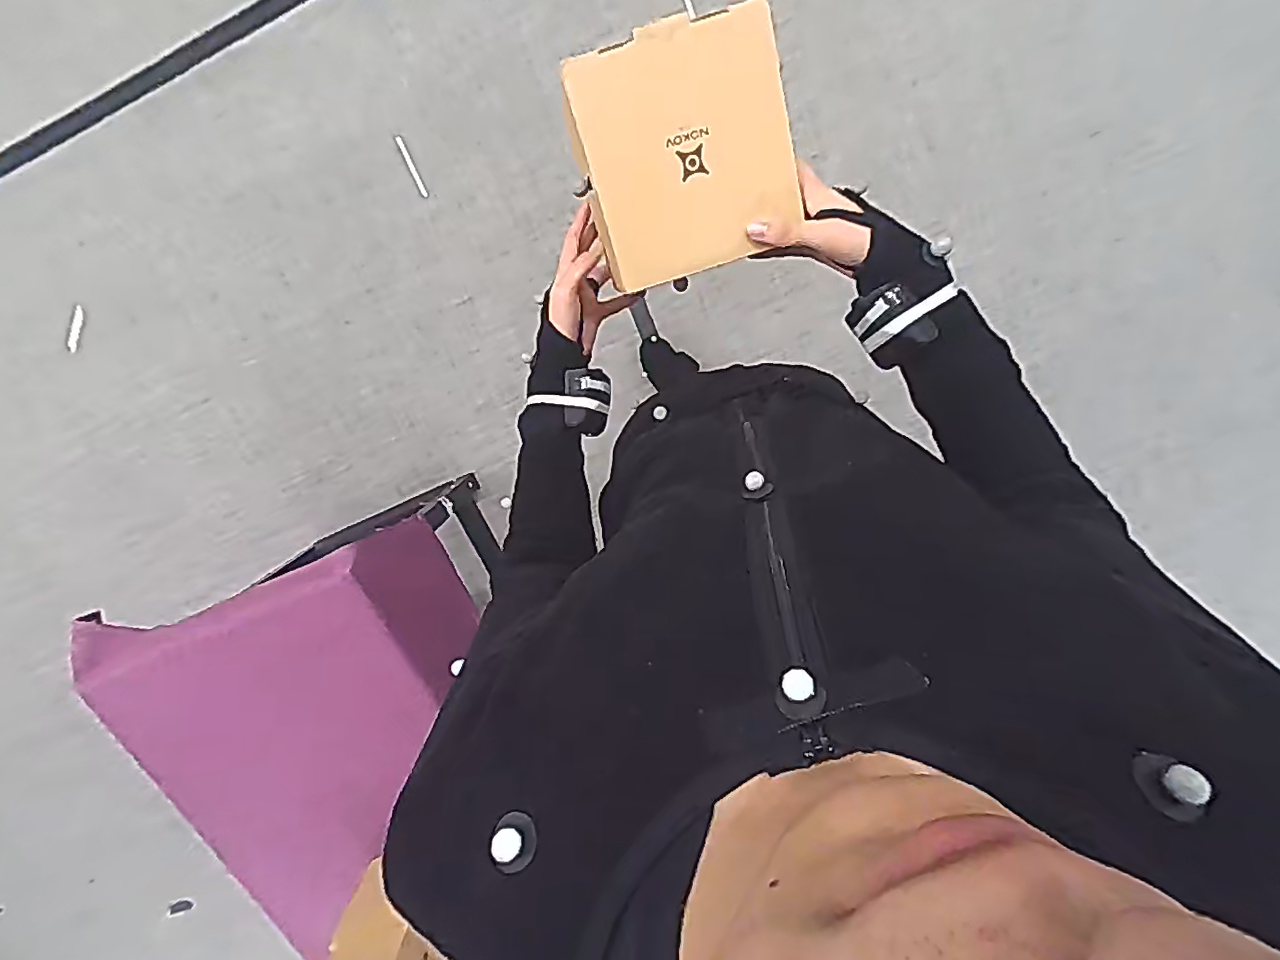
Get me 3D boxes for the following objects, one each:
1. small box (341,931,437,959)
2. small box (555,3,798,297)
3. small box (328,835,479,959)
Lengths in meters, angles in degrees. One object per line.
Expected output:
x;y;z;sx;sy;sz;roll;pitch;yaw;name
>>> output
-0.438;0.907;0.892;0.179;0.176;0.168;-28;105;7;small box
0.030;-0.287;0.512;0.168;0.176;0.179;-18;110;1;small box
-0.441;0.841;1.044;0.168;0.176;0.179;-33;102;8;small box
